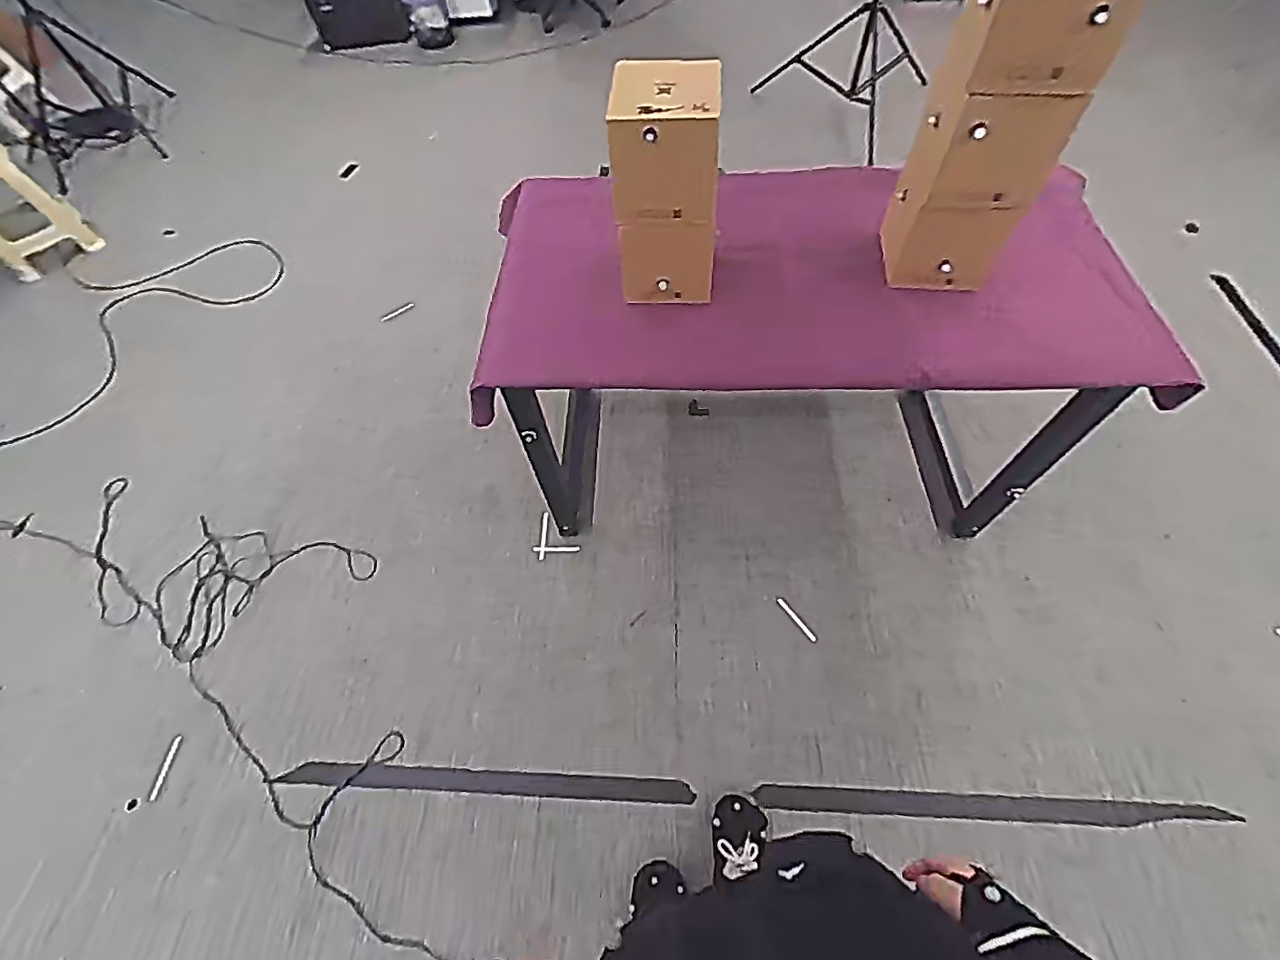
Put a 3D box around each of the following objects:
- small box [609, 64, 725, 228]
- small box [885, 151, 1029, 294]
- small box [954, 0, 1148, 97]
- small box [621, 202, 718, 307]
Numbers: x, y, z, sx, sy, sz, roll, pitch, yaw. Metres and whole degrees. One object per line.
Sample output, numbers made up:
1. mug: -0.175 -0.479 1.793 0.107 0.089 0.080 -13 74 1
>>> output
1. small box: 0.047 -0.535 0.871 0.168 0.176 0.179 2 59 5
2. small box: 0.564 -0.470 0.991 0.168 0.176 0.179 5 60 7
3. small box: 0.541 -0.633 0.708 0.168 0.176 0.179 7 59 7
4. small box: 0.057 -0.451 1.012 0.168 0.176 0.179 2 60 5
